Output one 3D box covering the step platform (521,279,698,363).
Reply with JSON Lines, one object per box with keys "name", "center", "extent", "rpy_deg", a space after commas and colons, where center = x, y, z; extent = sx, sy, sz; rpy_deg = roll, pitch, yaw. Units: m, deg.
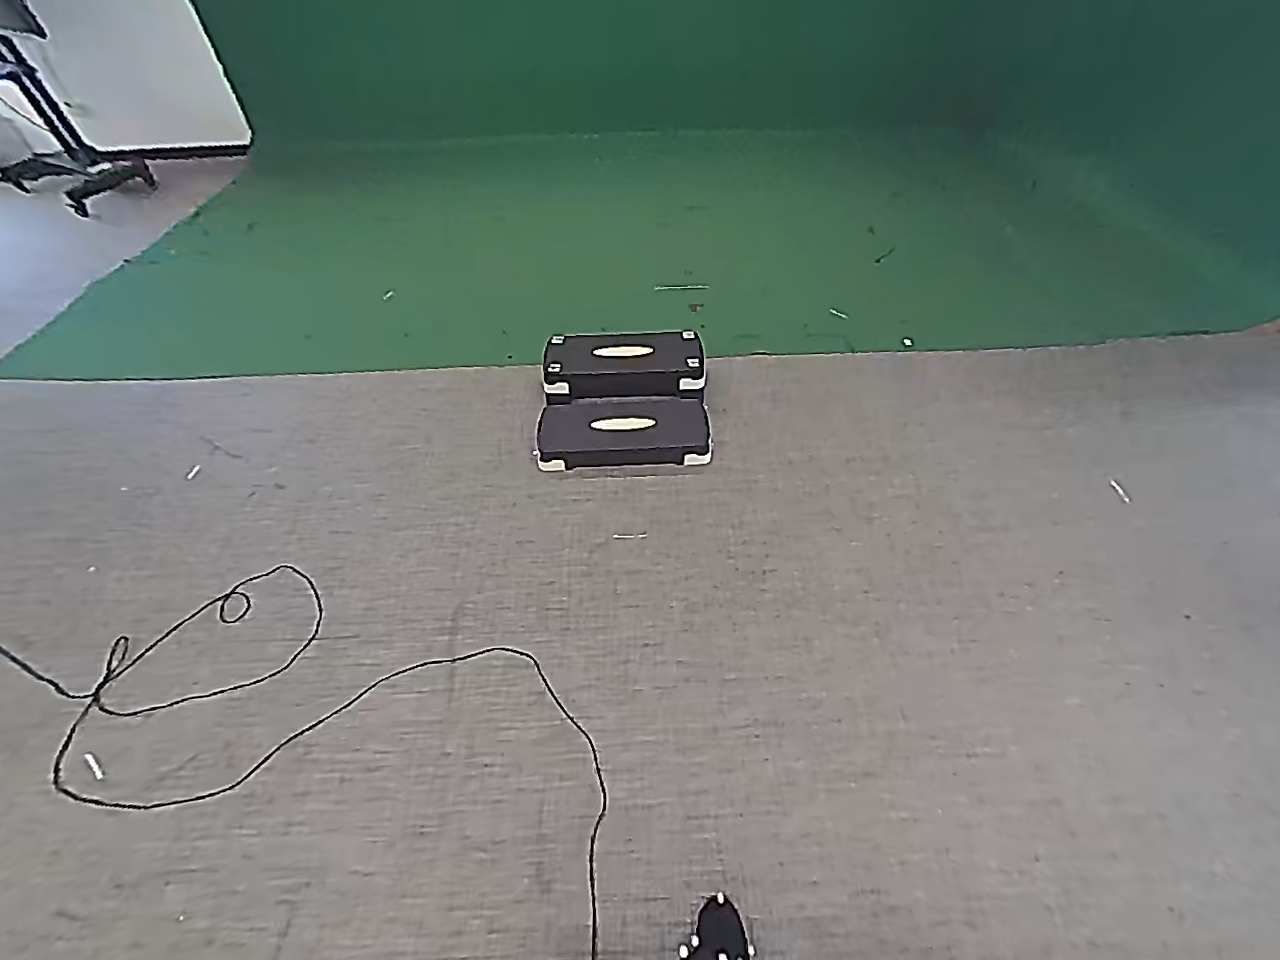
{"name": "step platform", "center": [-0.114, -0.636, 2.166], "extent": [0.684, 0.204, 0.286], "rpy_deg": [-3, 49, 0]}
